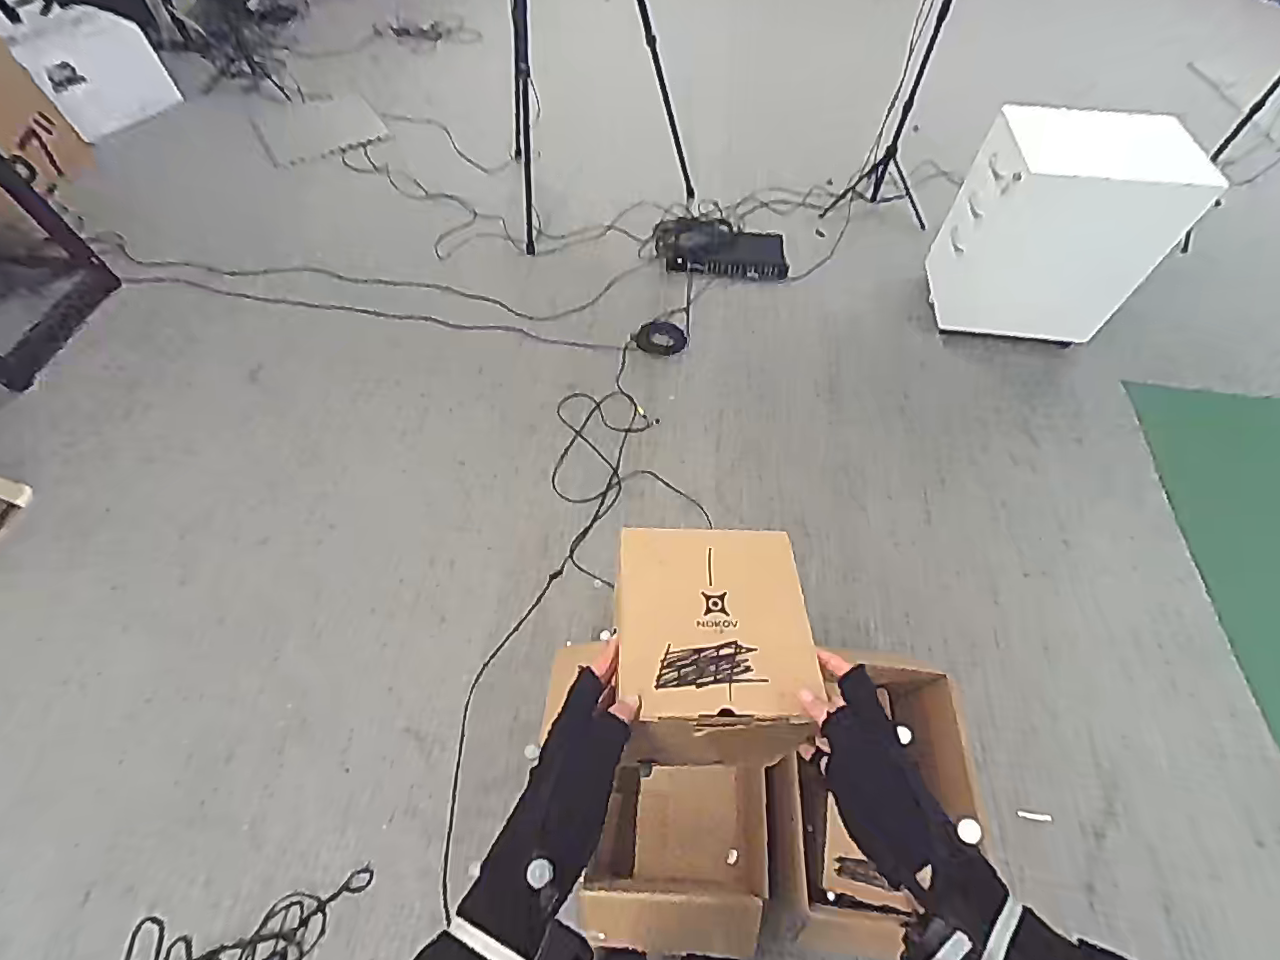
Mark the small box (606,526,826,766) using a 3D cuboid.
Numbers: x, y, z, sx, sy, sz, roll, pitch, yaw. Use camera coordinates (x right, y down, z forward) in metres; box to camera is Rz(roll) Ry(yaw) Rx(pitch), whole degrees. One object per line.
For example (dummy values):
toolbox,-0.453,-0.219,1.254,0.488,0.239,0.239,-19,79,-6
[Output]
small box,0.054,0.163,0.514,0.168,0.176,0.179,2,51,-4
